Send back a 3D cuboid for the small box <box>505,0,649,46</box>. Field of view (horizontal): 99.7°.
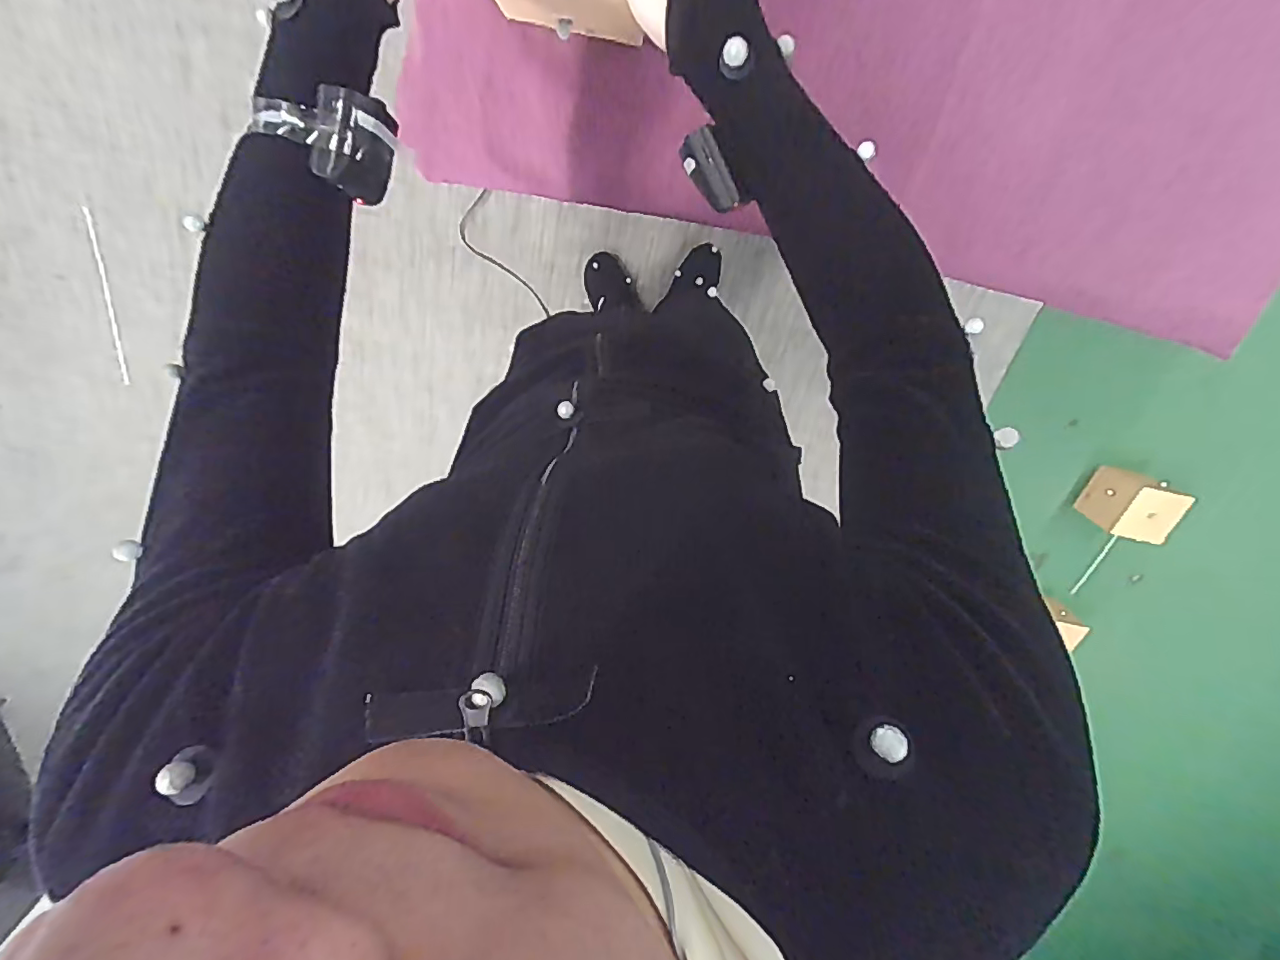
[{"bbox_3d":[-0.061,-0.573,0.535,0.168,0.176,0.179,8,117,-5],"label":"small box"}]

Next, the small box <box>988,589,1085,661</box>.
[{"bbox_3d":[1.385,0.506,1.902,0.179,0.176,0.168,13,116,-7],"label":"small box"}]

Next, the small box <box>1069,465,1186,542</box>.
[{"bbox_3d":[1.508,0.067,1.688,0.179,0.176,0.168,11,116,-7],"label":"small box"}]
